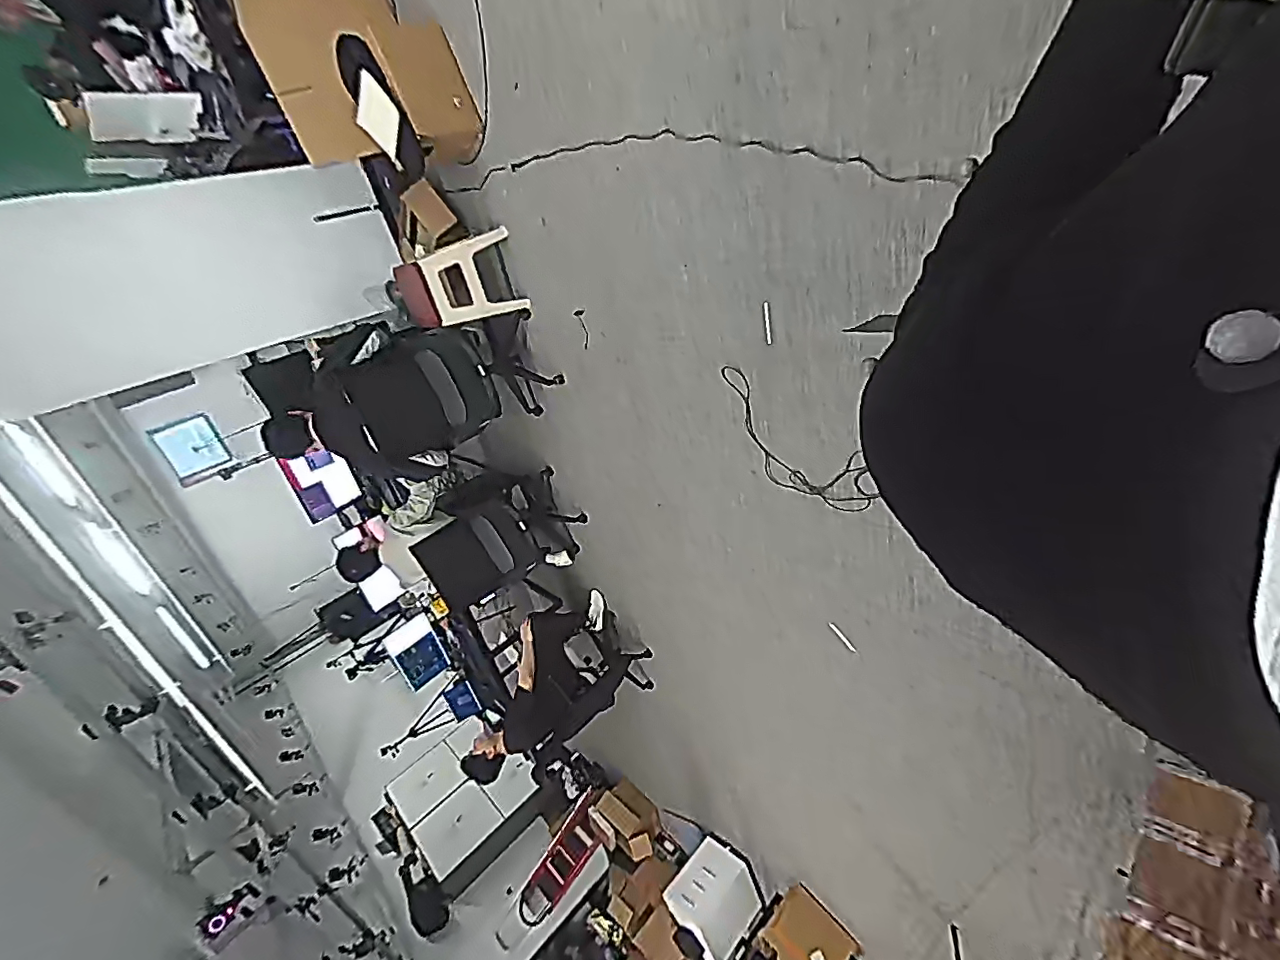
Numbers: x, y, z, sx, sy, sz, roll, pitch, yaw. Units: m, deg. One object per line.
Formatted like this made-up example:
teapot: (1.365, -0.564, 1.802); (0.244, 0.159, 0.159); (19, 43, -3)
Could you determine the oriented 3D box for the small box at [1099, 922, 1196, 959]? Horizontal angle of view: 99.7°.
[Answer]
small box: (1.153, 1.155, 1.217); (0.179, 0.176, 0.168); (9, 122, 49)
